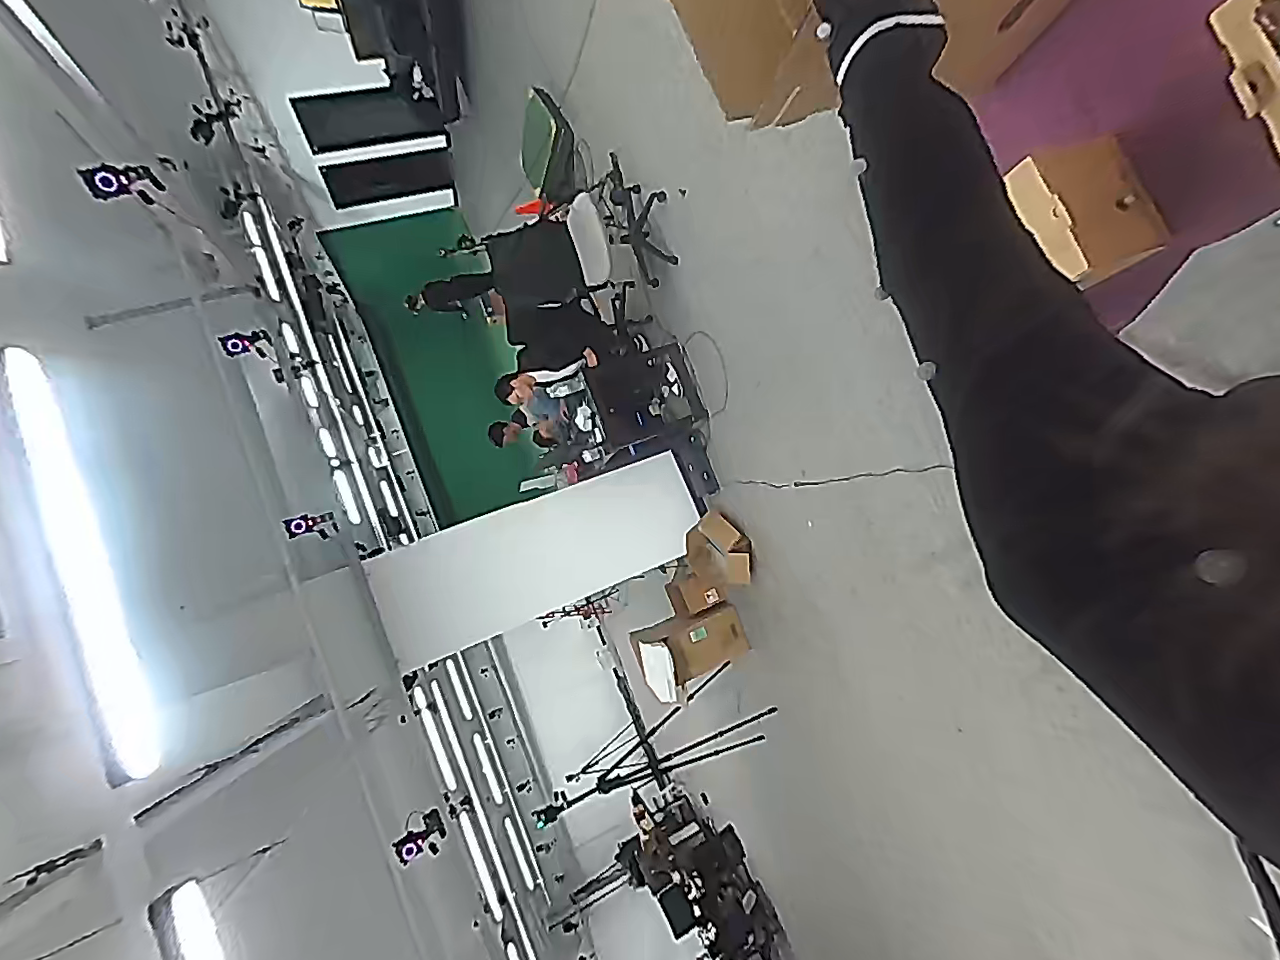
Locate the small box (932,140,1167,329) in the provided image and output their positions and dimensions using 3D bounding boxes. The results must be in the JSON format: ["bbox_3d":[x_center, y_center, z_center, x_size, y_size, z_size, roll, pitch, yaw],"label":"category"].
[{"bbox_3d":[0.572,-0.344,0.771,0.168,0.176,0.179,68,162,6],"label":"small box"}]
